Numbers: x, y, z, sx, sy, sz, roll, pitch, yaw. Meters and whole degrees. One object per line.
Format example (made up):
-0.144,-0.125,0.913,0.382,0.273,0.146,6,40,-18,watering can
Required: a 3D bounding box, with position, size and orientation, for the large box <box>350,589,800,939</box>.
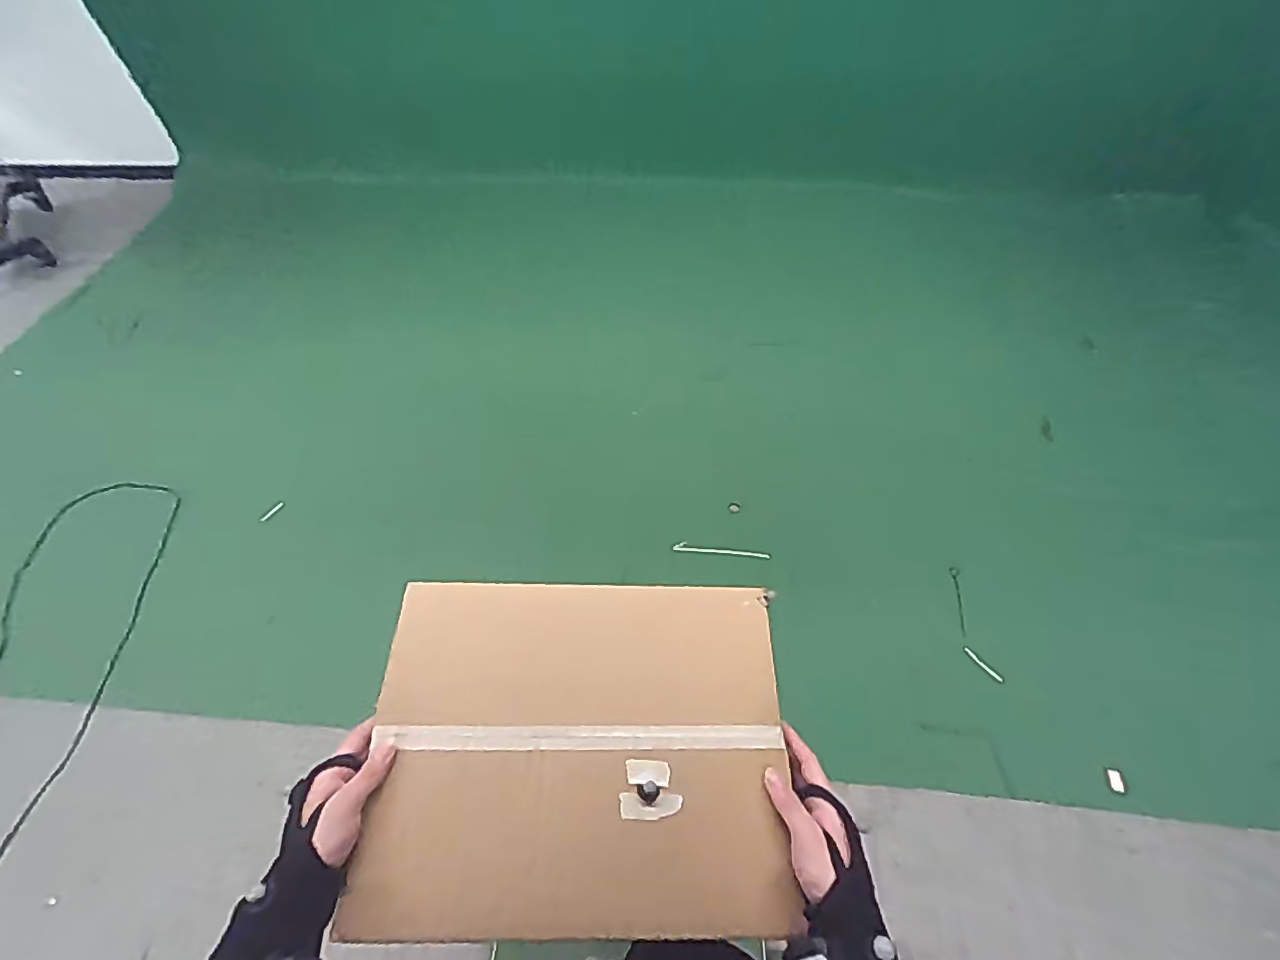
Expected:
-0.065,0.337,0.675,0.408,0.320,0.320,2,60,-3,large box
